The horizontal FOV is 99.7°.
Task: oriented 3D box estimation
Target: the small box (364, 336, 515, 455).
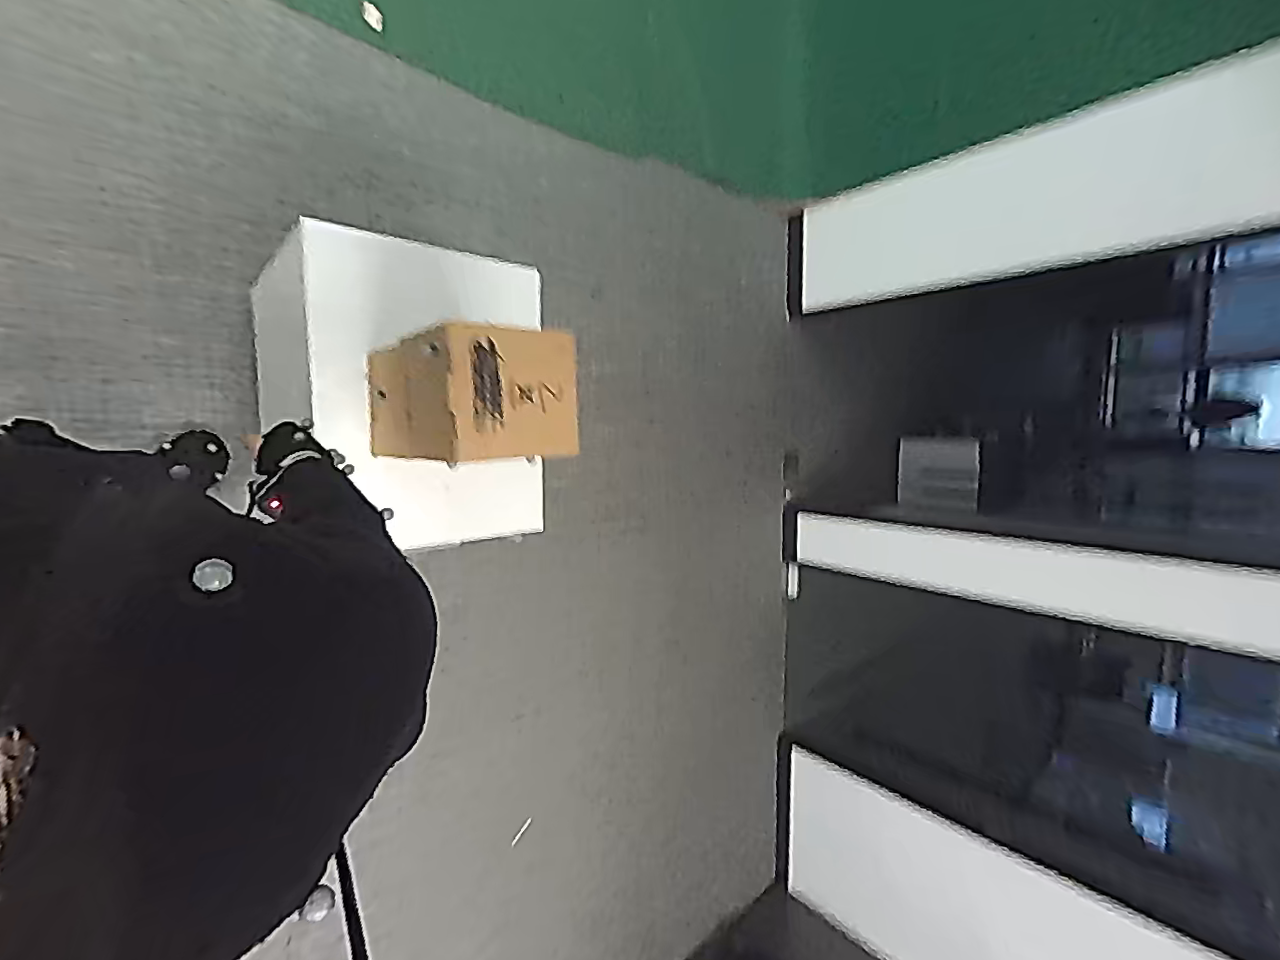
[{"bbox_3d":[-0.317,-0.126,0.853,0.179,0.176,0.168,-4,97,-43],"label":"small box"}]
